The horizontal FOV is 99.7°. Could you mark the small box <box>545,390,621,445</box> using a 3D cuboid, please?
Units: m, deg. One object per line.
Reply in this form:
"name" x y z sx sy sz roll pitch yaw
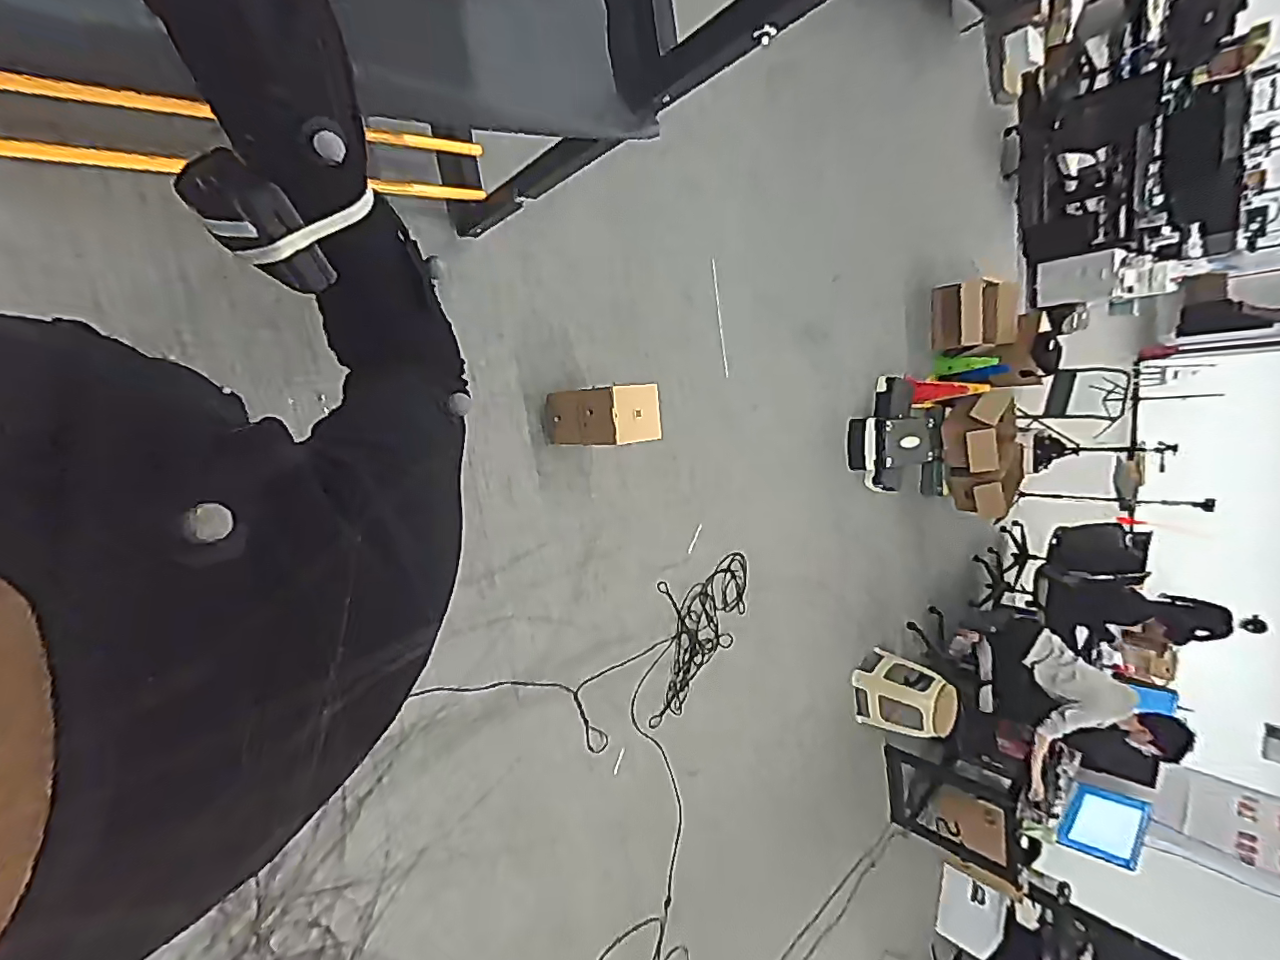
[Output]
"small box" -0.184 -0.201 1.736 0.179 0.176 0.168 -10 99 -40
